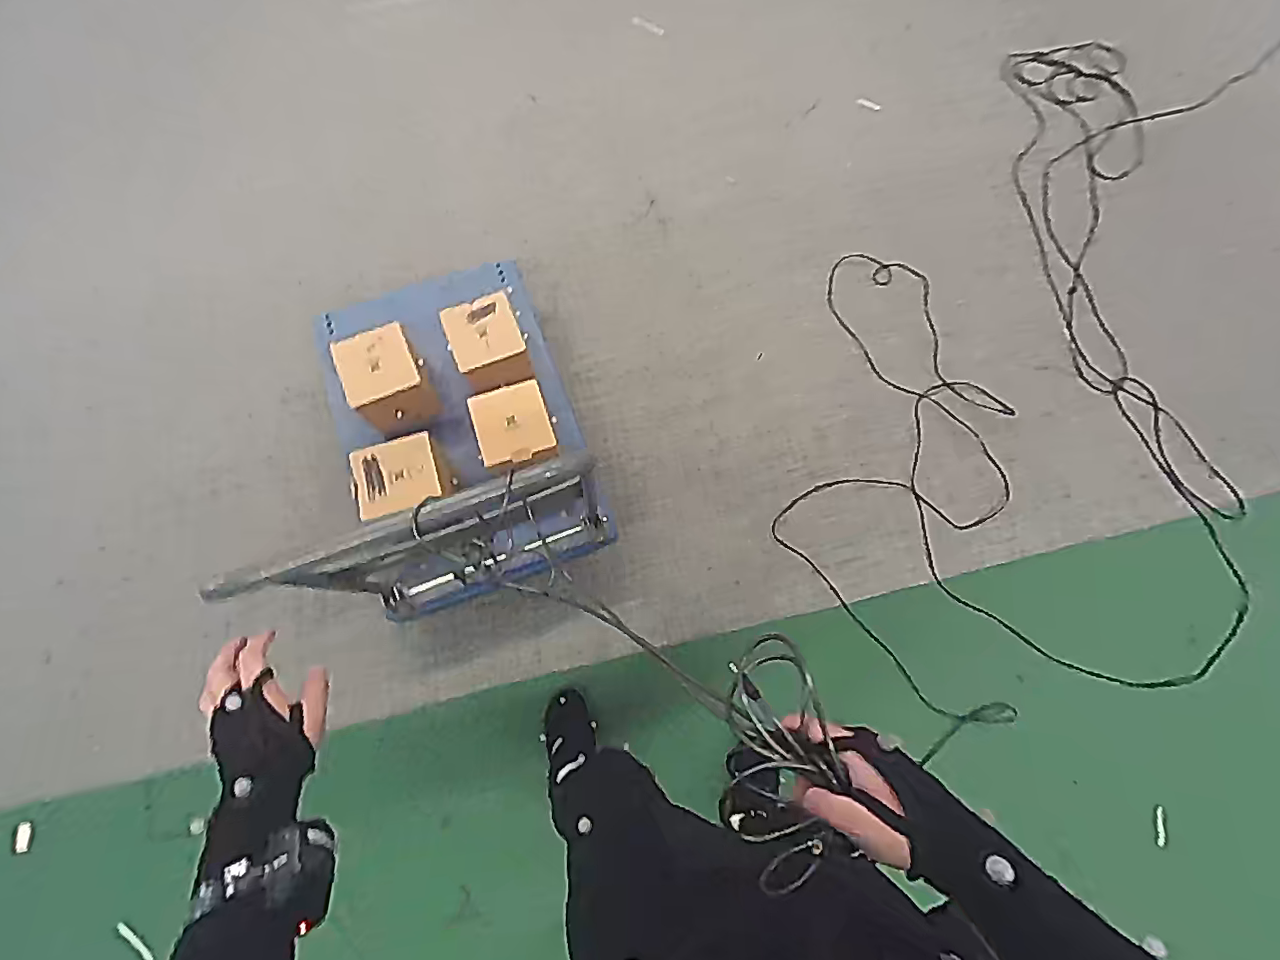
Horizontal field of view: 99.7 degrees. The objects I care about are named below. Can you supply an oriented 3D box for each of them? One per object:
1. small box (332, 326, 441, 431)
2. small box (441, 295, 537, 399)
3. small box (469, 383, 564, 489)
[{"bbox_3d":[-0.611,-0.238,1.325,0.168,0.176,0.179,-23,75,-8],"label":"small box"},{"bbox_3d":[-0.372,-0.324,1.356,0.168,0.176,0.179,-21,76,-7],"label":"small box"},{"bbox_3d":[-0.290,-0.100,1.293,0.168,0.176,0.179,-18,75,-6],"label":"small box"}]
